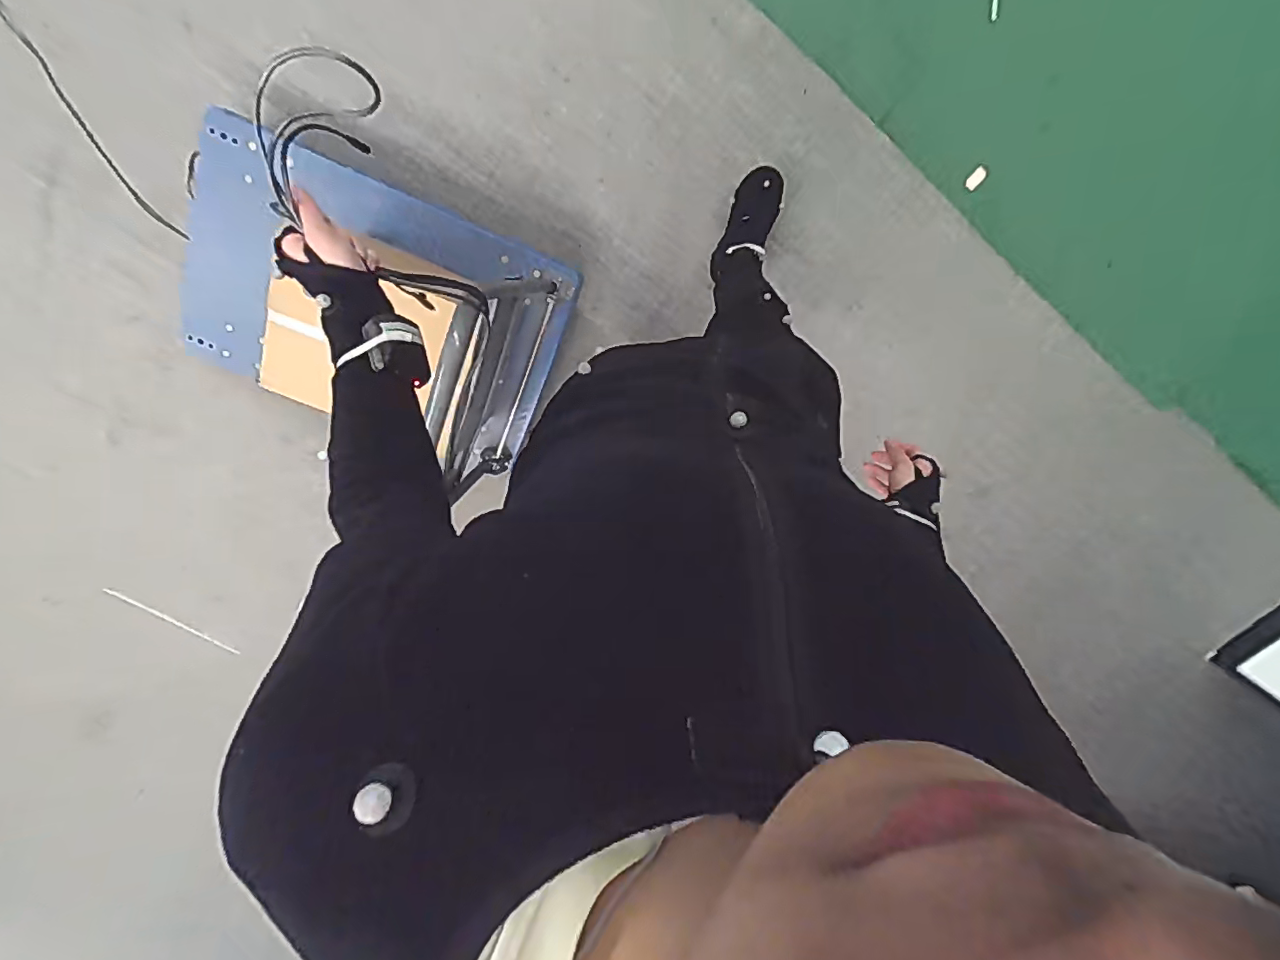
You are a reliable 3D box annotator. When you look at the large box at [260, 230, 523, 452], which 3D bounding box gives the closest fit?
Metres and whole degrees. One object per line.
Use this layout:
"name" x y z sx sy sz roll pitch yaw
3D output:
"large box" -0.518 -0.312 1.187 0.408 0.320 0.320 22 112 -7
